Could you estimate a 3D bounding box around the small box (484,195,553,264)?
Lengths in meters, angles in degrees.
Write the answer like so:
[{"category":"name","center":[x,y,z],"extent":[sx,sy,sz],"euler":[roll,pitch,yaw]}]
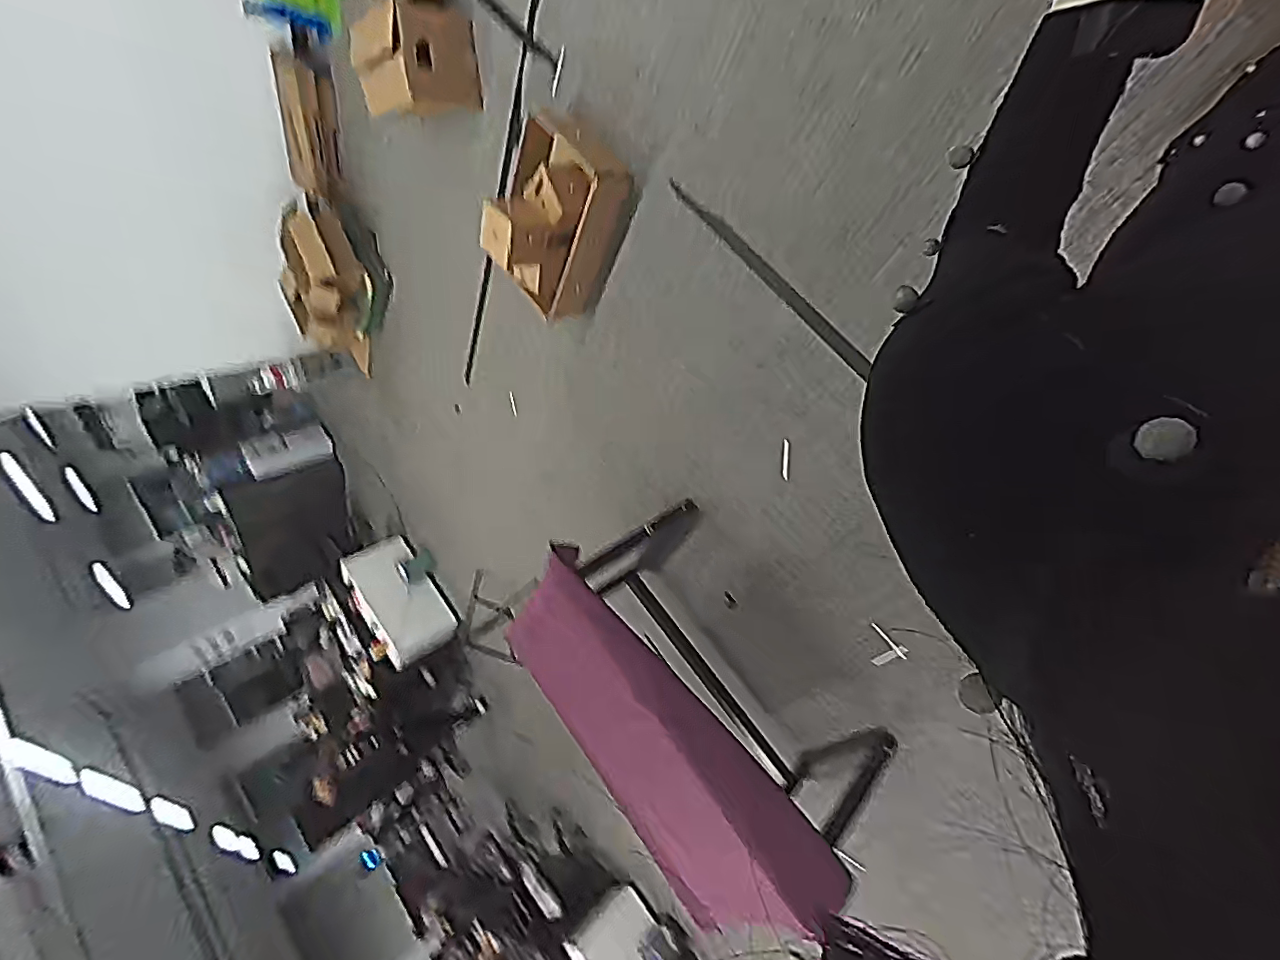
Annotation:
[{"category":"small box","center":[-0.434,-0.903,1.938],"extent":[0.179,0.176,0.168],"euler":[46,138,21]}]
